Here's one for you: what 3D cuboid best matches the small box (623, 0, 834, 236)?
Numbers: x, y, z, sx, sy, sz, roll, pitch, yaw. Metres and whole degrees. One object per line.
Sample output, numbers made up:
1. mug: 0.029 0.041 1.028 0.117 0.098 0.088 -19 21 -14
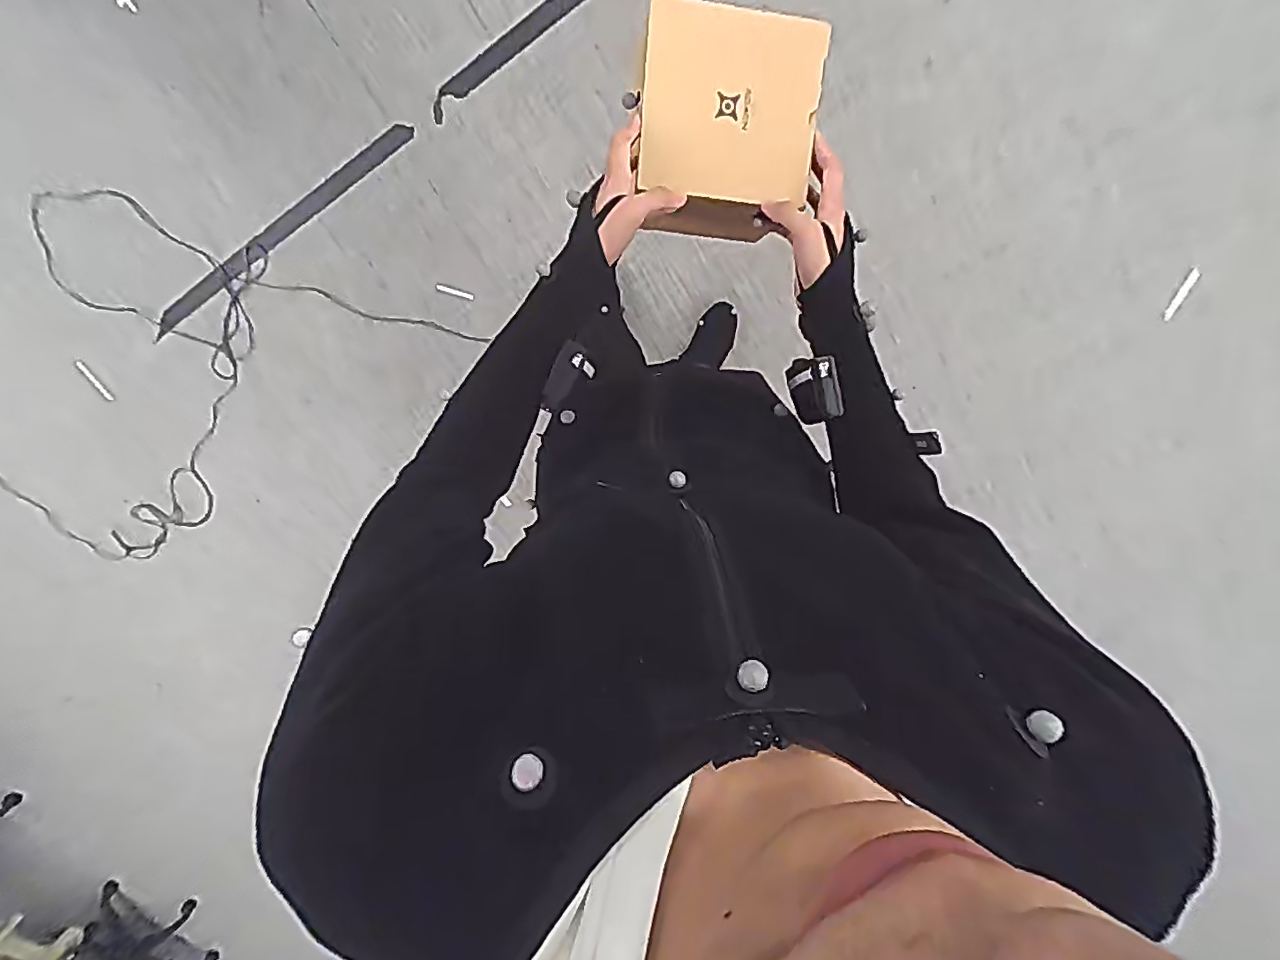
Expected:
1. small box: 0.078 -0.372 0.581 0.179 0.176 0.168 3 103 -8
